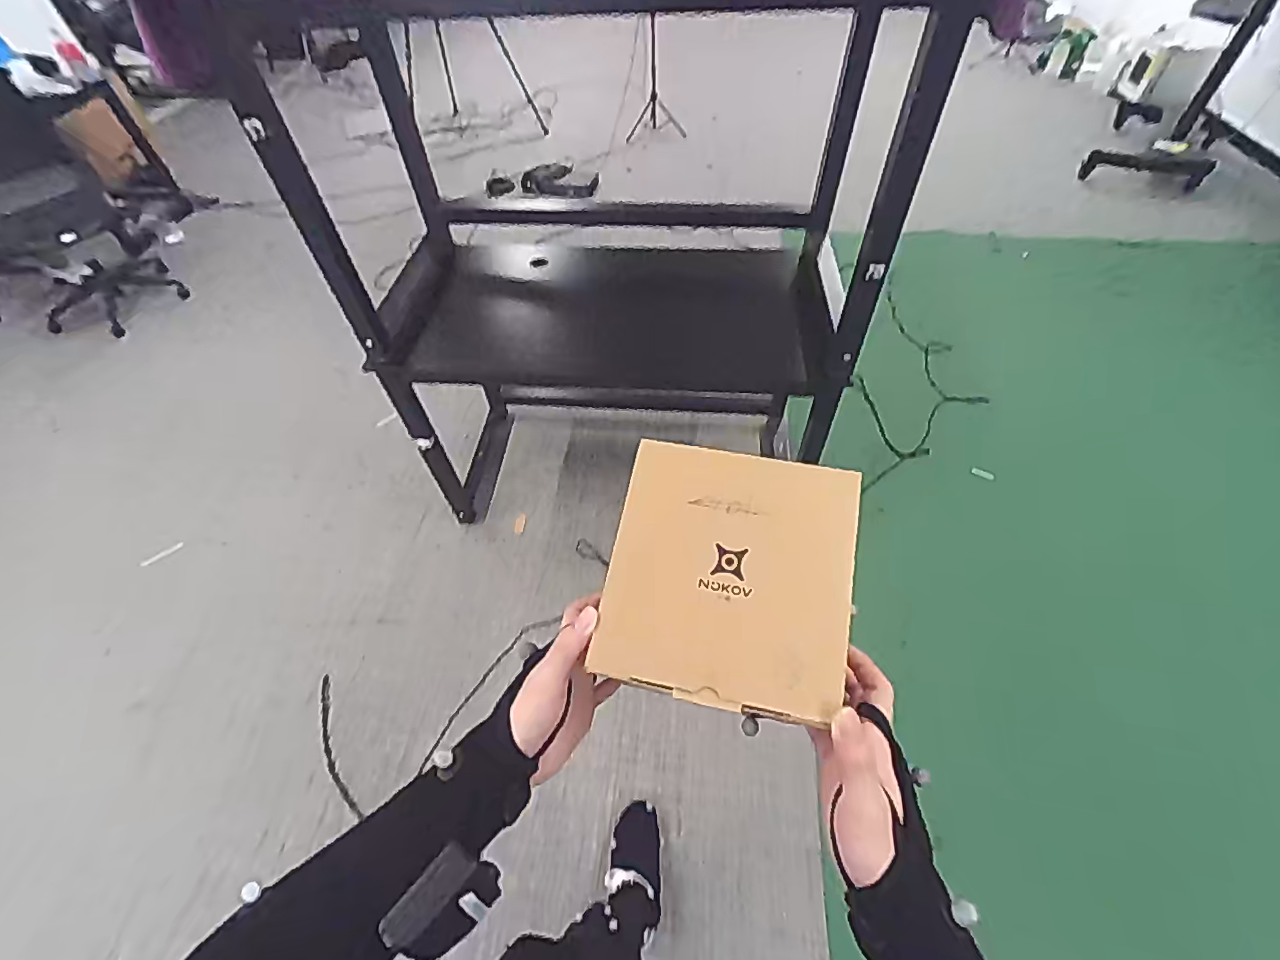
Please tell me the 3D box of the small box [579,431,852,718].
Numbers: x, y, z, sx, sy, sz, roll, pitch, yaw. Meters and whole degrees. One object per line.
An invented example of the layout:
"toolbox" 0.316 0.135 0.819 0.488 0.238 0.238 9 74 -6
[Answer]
"small box" 0.065 0.084 0.449 0.168 0.176 0.179 10 69 10
